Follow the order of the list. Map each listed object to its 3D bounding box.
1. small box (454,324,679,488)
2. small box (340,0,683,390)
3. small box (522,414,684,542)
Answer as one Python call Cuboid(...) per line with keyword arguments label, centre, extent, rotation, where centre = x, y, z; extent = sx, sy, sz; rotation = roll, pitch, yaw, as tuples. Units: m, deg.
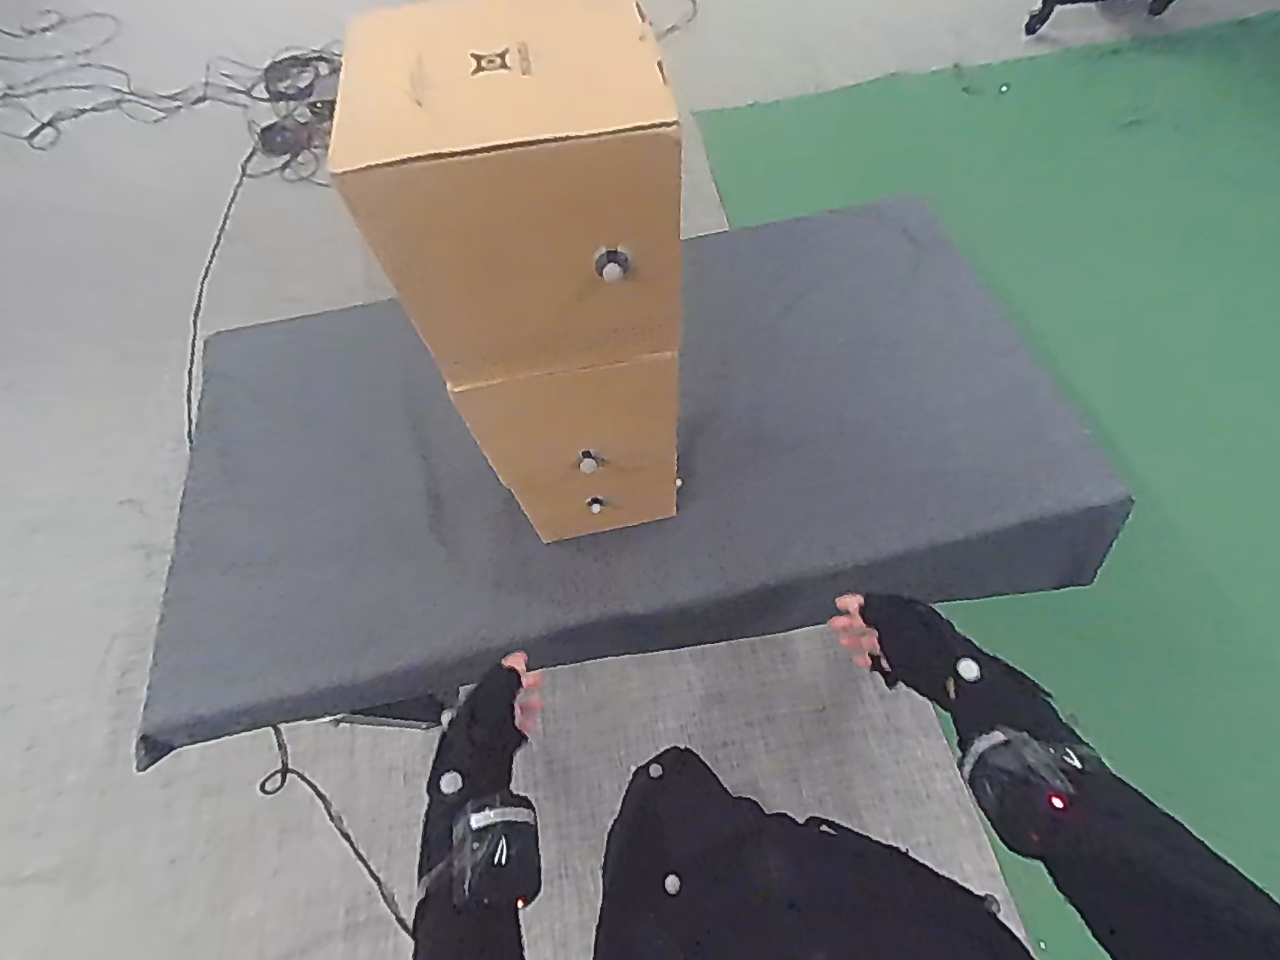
Cuboid(label="small box", centre=(-0.066, -0.110, 0.519), extent=(0.179, 0.176, 0.168), rotation=(-10, 62, -2))
Cuboid(label="small box", centre=(-0.073, -0.186, 0.376), extent=(0.179, 0.176, 0.168), rotation=(-12, 62, -1))
Cuboid(label="small box", centre=(-0.055, -0.041, 0.667), extent=(0.179, 0.176, 0.168), rotation=(-15, 63, -5))
